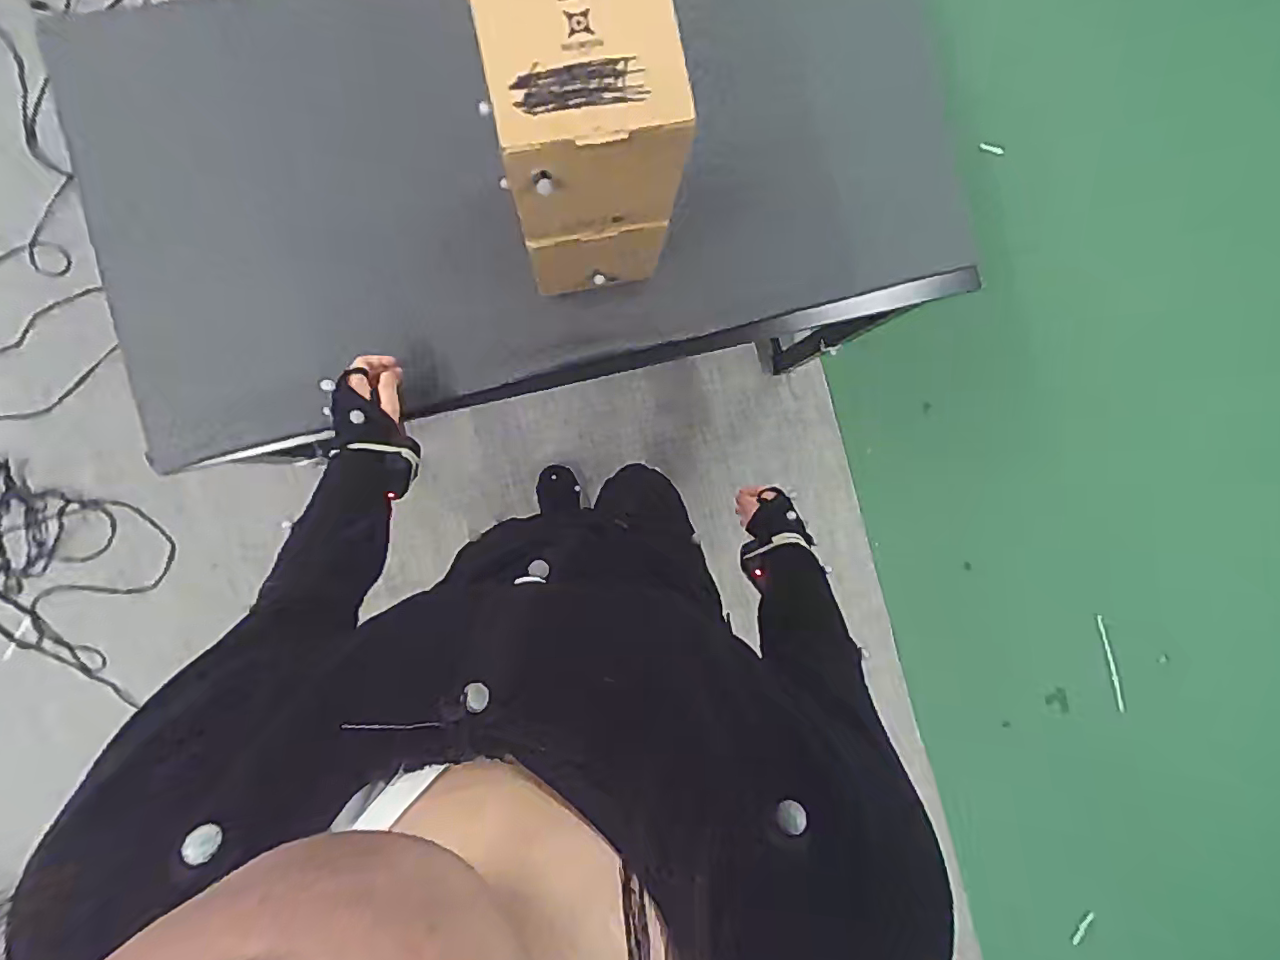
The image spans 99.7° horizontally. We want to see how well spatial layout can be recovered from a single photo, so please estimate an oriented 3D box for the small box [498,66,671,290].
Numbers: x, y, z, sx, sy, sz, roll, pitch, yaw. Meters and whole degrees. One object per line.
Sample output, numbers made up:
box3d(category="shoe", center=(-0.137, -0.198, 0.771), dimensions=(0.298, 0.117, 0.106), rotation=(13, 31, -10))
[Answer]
box3d(category="small box", center=(-0.069, -0.365, 0.681), dimensions=(0.168, 0.176, 0.179), rotation=(-13, 92, -5))
